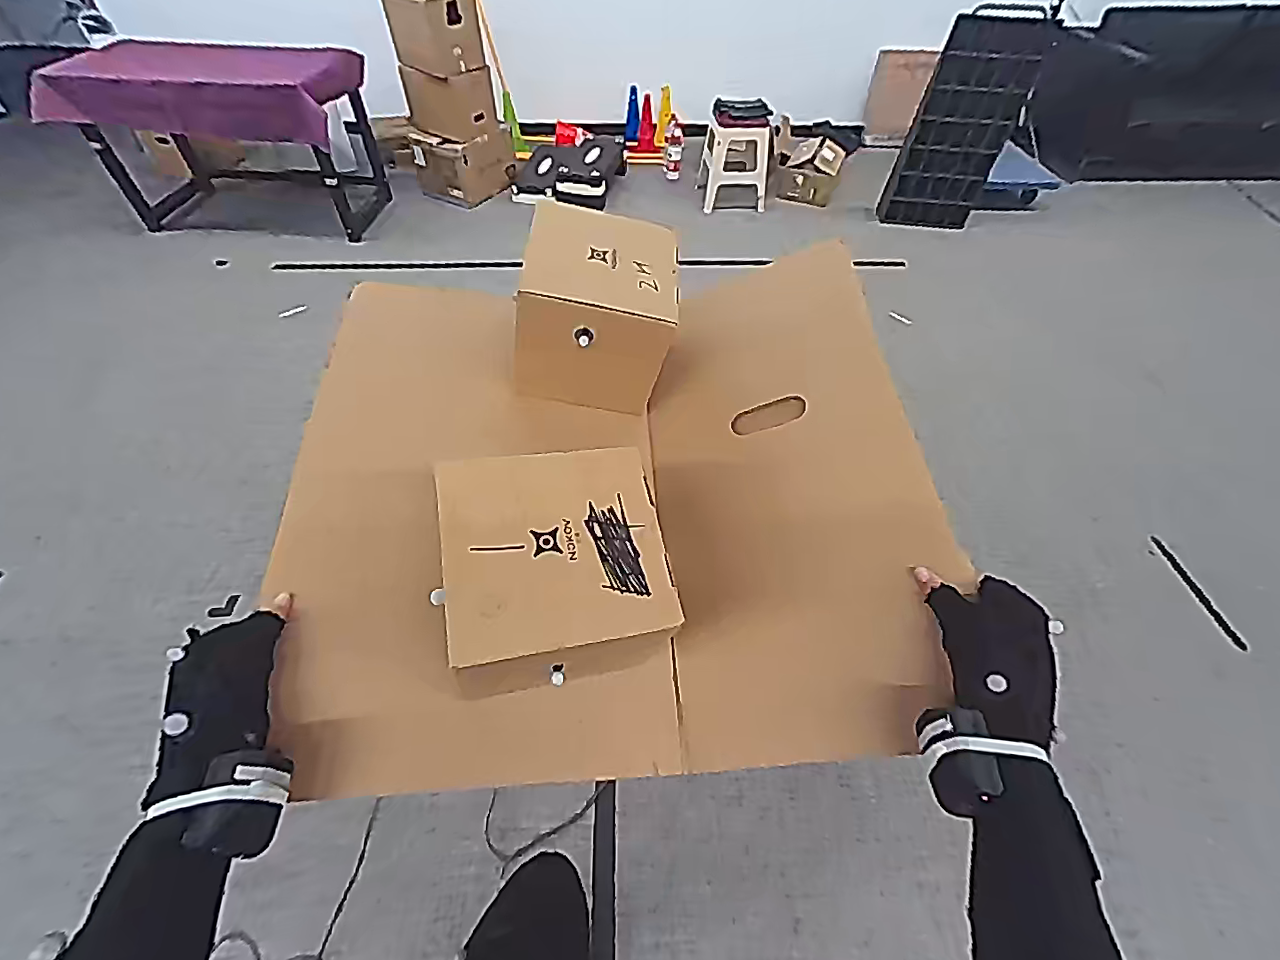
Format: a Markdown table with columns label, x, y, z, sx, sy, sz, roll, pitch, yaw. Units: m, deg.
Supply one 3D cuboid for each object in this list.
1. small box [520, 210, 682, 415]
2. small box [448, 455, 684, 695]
| label | x | y | z | sx | sy | sz | roll | pitch | yaw |
| --- | --- | --- | --- | --- | --- | --- | --- | --- | --- |
| small box | -0.053 | -0.203 | 0.691 | 0.179 | 0.176 | 0.168 | 10 | 58 | -10 |
| small box | -0.080 | 0.093 | 0.507 | 0.179 | 0.176 | 0.168 | -5 | 62 | -17 |
